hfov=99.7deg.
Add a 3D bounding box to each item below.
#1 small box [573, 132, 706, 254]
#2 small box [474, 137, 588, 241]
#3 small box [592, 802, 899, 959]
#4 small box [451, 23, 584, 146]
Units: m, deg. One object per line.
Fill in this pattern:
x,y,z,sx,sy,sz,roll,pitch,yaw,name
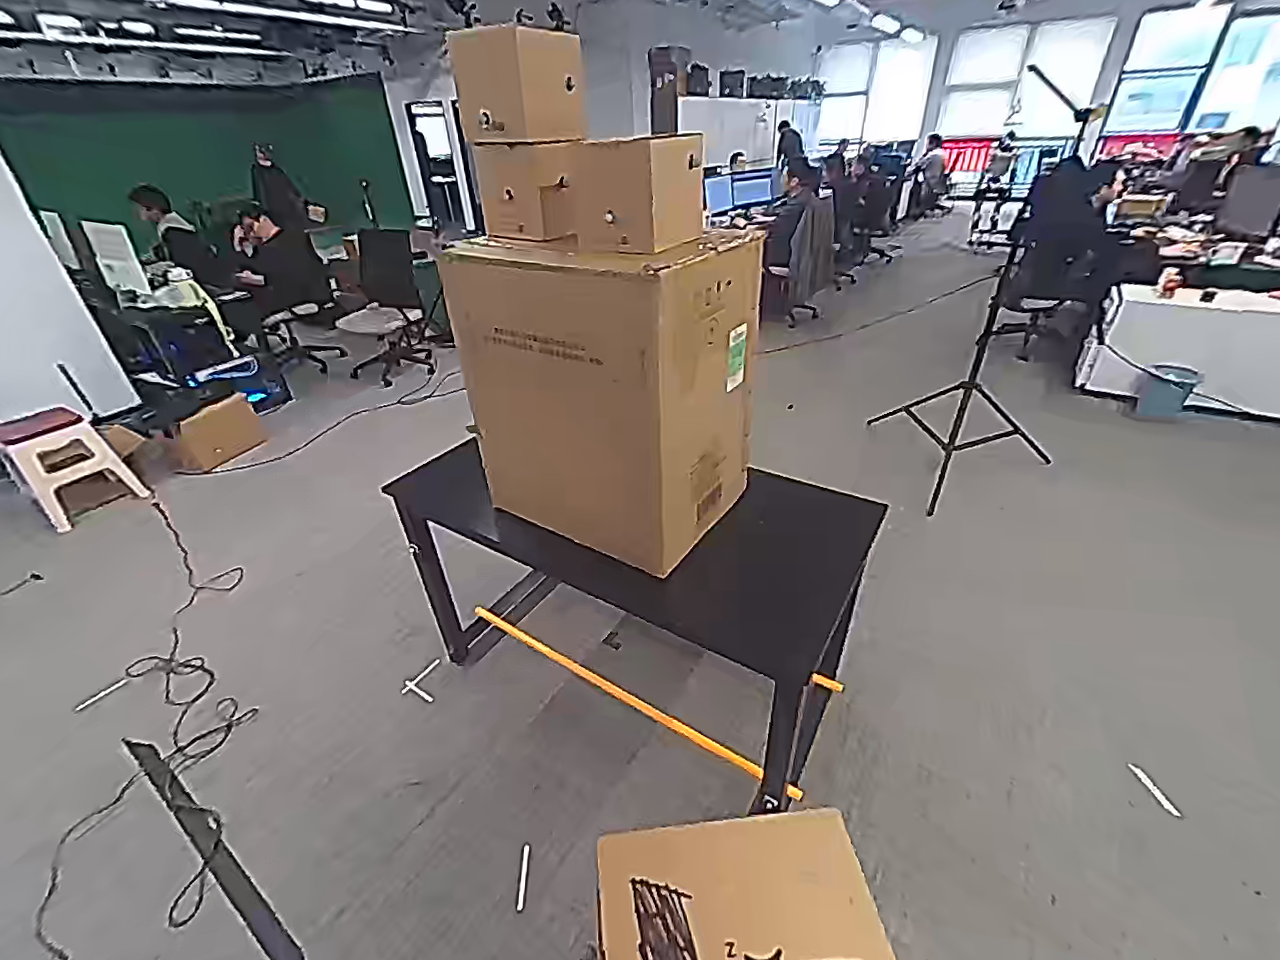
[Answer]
0.004,-0.509,0.955,0.168,0.176,0.179,17,38,30,small box
-0.206,-0.598,1.109,0.168,0.176,0.179,19,39,27,small box
0.062,0.344,0.355,0.179,0.176,0.168,-2,37,-7,small box
-0.219,-0.728,1.011,0.168,0.176,0.179,17,38,27,small box
